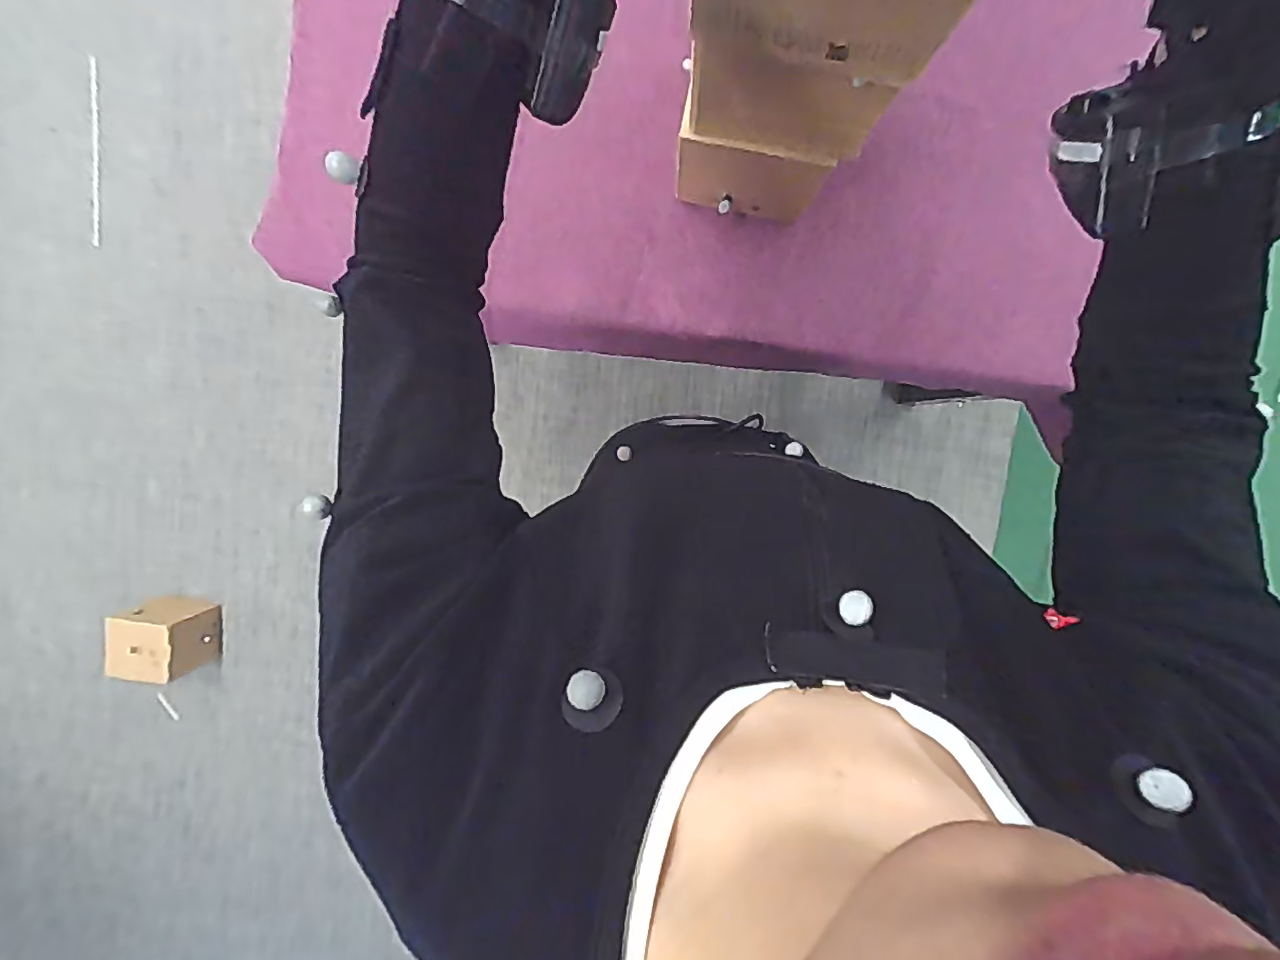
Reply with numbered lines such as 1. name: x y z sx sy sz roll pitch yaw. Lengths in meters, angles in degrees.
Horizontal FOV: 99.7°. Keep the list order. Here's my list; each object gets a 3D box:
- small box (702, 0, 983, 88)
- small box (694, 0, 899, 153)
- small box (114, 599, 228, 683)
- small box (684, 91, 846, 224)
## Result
1. small box: 0.133 -0.367 0.291 0.168 0.176 0.179 14 95 2
2. small box: 0.145 -0.406 0.452 0.179 0.176 0.168 11 96 2
3. small box: -1.298 0.439 1.503 0.179 0.176 0.168 7 97 1
4. small box: 0.146 -0.422 0.613 0.168 0.176 0.179 12 97 2
